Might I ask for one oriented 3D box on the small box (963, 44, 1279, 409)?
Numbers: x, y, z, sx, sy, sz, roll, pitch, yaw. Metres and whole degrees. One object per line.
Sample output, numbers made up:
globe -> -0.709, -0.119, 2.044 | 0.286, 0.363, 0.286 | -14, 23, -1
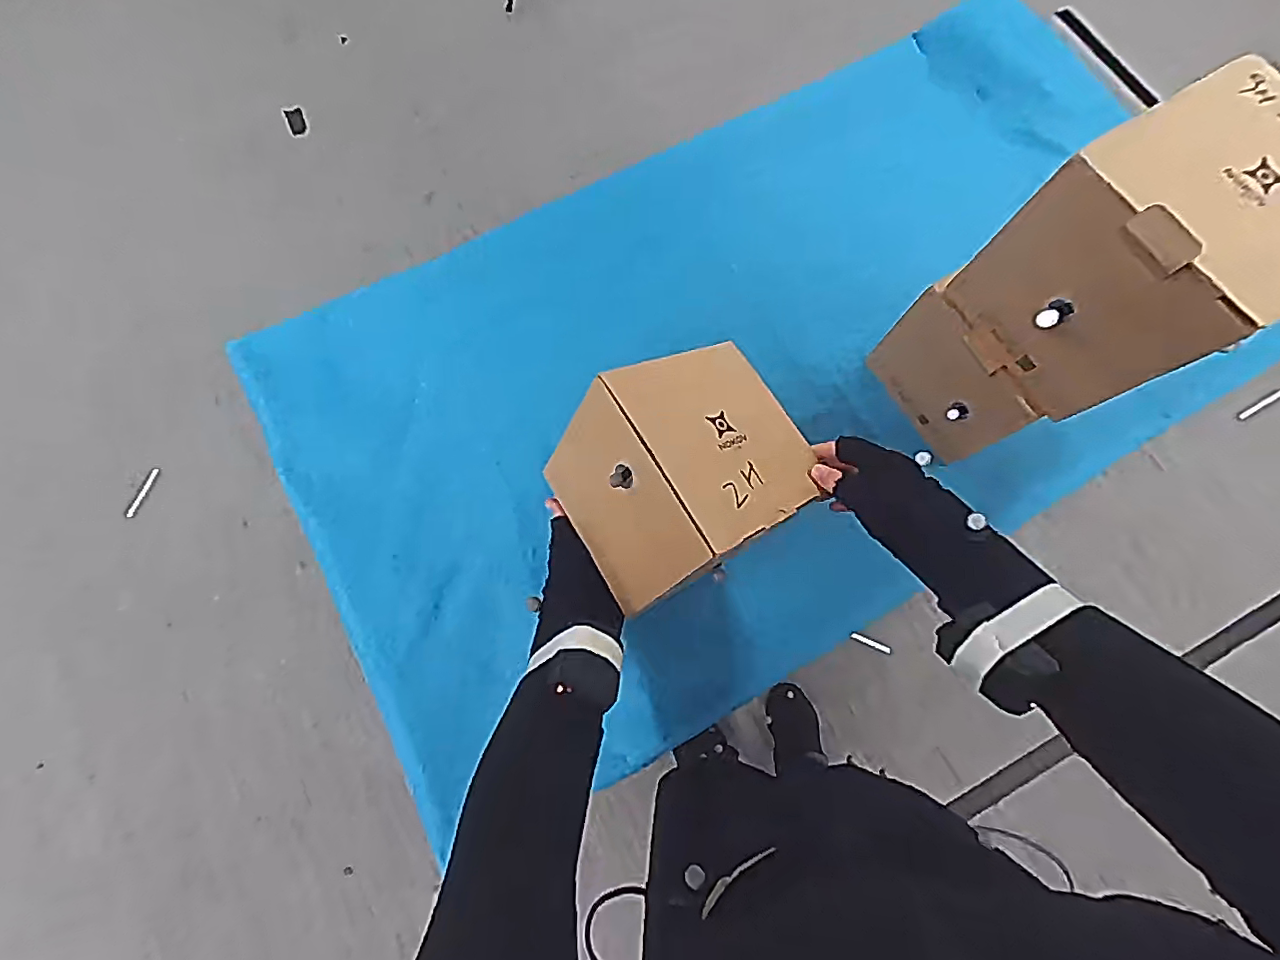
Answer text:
small box -> 0.406, -0.185, 0.441 | 0.179, 0.176, 0.168 | -33, 78, -8

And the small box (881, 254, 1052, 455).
small box -> 0.399, -0.149, 0.599 | 0.179, 0.176, 0.168 | -30, 78, -6

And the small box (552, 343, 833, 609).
small box -> 0.036, -0.001, 0.517 | 0.168, 0.176, 0.179 | -20, 75, -32
